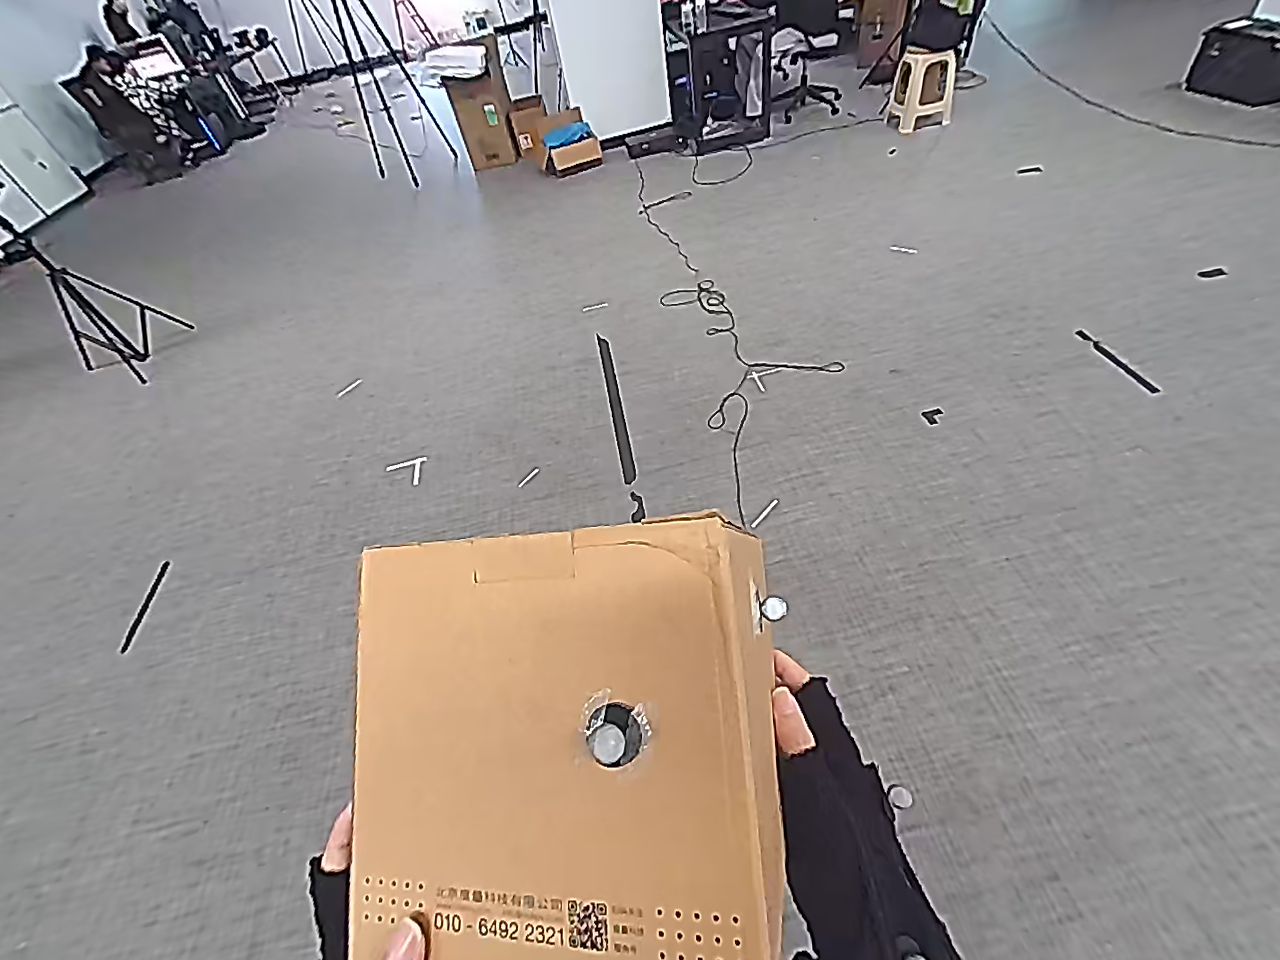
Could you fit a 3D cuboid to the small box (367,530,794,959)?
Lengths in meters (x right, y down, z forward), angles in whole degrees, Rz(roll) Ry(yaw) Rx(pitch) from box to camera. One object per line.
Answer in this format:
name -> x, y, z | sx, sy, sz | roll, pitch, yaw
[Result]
small box -> -0.013, 0.122, 0.286 | 0.168, 0.179, 0.176 | -7, 79, 17
